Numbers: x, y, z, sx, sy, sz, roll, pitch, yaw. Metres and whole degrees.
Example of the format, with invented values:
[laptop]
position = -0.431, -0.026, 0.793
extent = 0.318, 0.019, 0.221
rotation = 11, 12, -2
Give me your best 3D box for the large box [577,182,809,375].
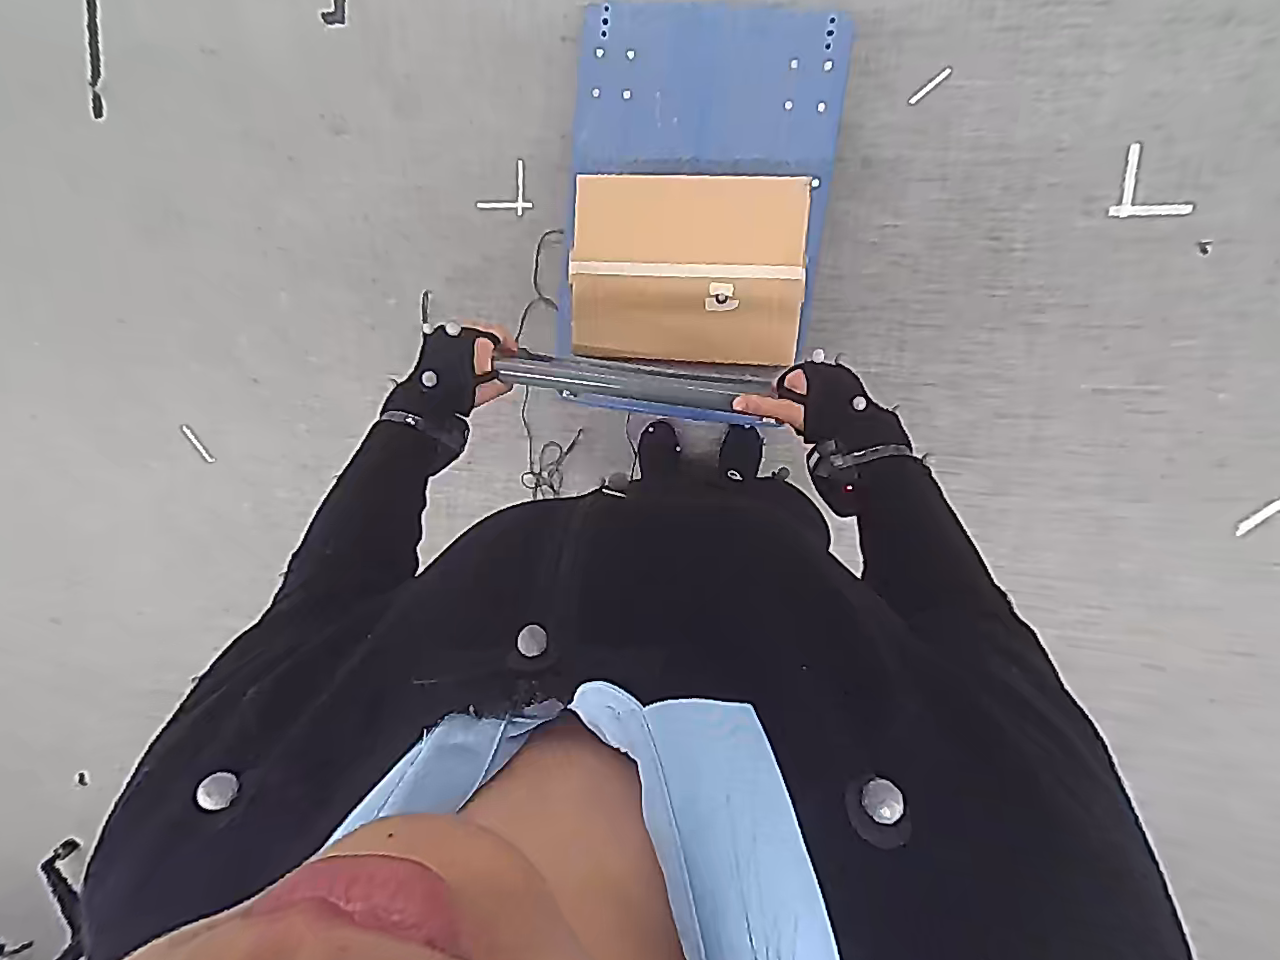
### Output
[large box]
position = 0.099, -0.384, 1.105
extent = 0.408, 0.320, 0.320
rotation = 4, 99, 5
